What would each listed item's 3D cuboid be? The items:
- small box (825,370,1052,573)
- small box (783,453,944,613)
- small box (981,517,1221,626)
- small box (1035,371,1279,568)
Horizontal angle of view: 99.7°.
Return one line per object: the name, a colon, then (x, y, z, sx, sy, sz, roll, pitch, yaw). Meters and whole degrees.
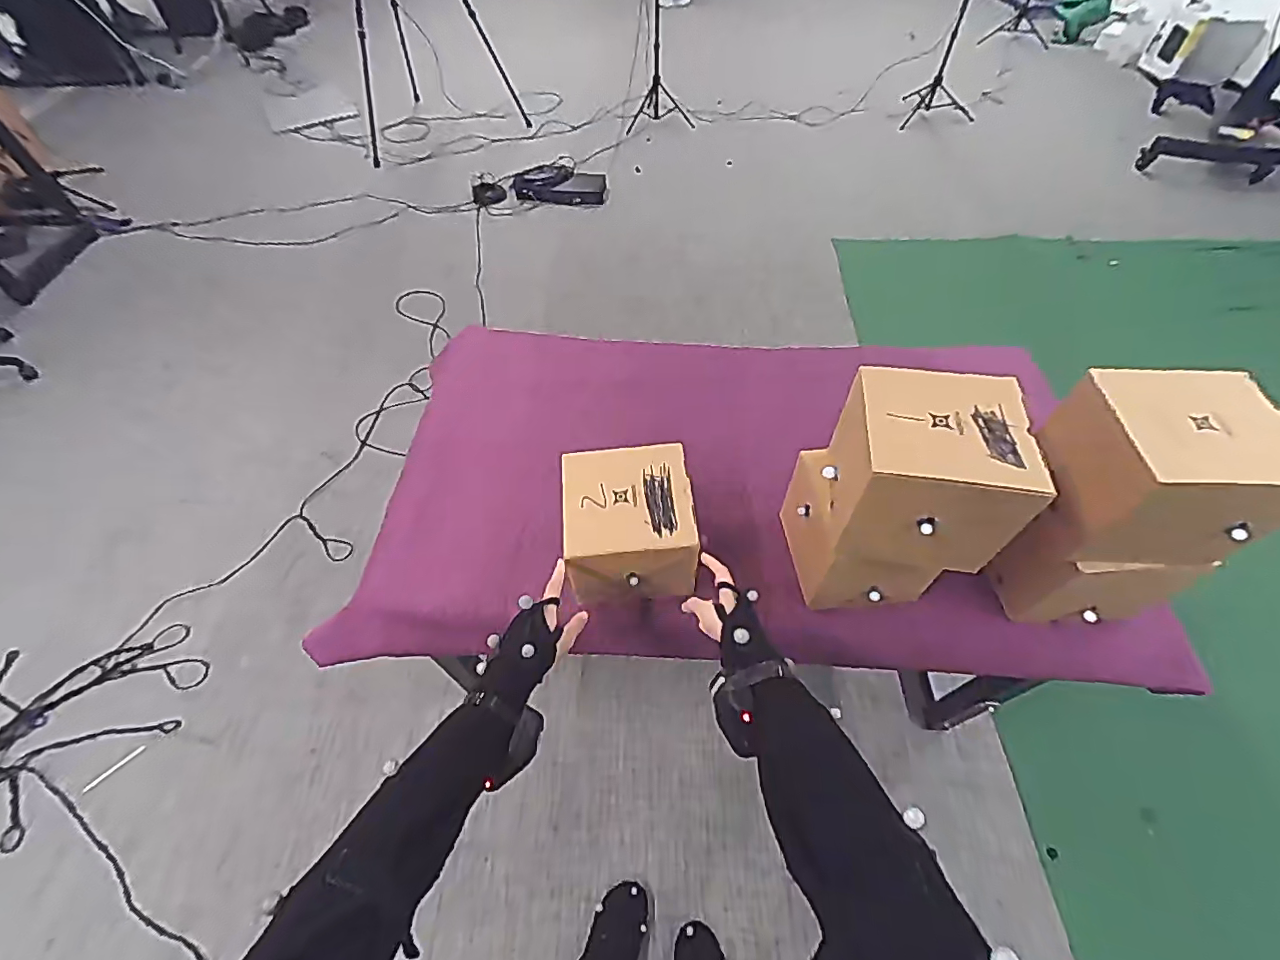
small box: (0.330, -0.006, 0.641, 0.179, 0.176, 0.168, 7, 53, 8)
small box: (0.318, 0.075, 0.787, 0.168, 0.176, 0.179, -5, 53, -1)
small box: (0.615, 0.096, 0.761, 0.179, 0.176, 0.168, -2, 53, 0)
small box: (0.599, -0.008, 0.635, 0.179, 0.176, 0.168, 2, 53, 4)
